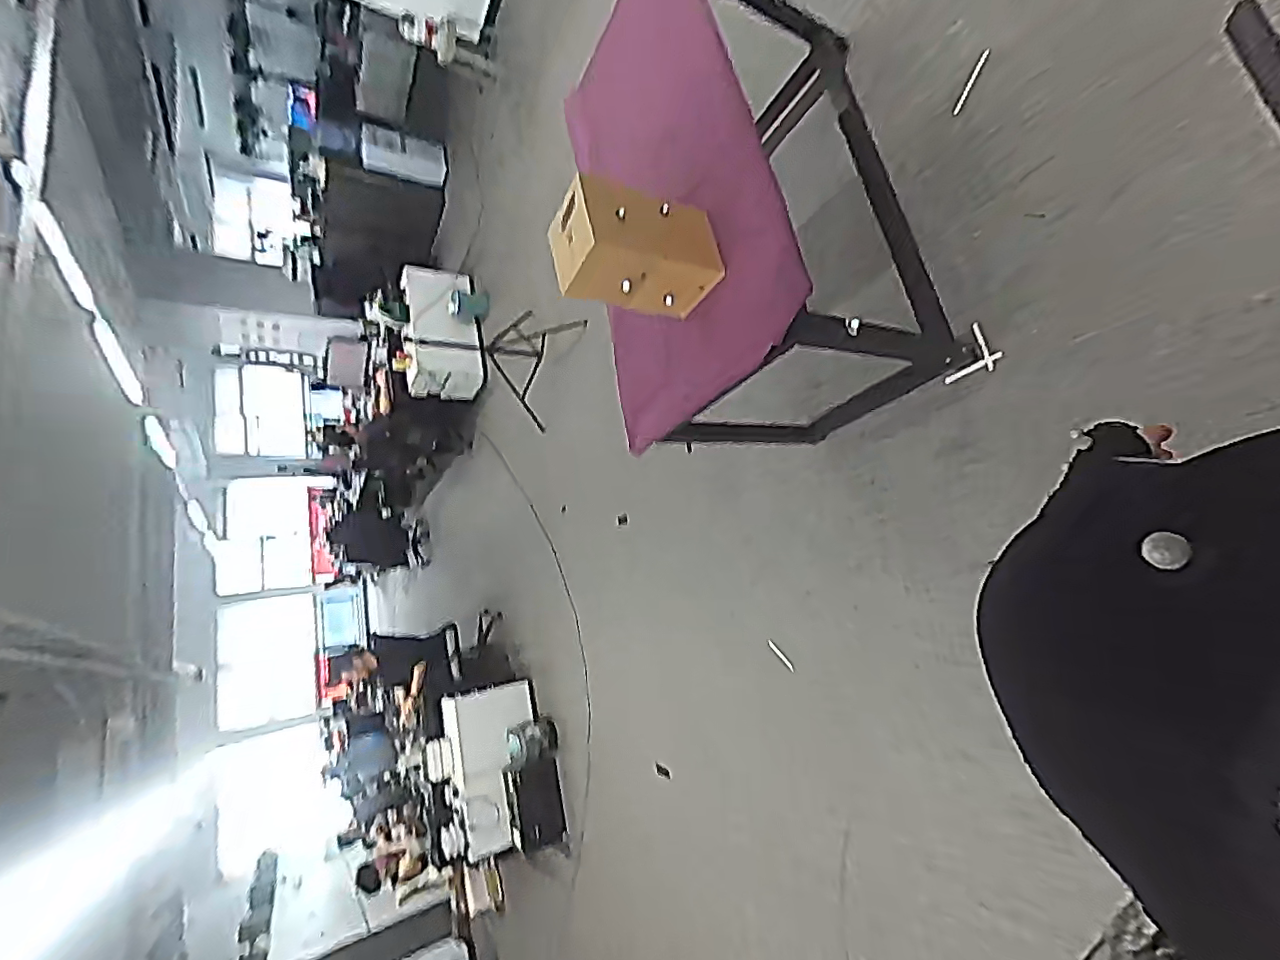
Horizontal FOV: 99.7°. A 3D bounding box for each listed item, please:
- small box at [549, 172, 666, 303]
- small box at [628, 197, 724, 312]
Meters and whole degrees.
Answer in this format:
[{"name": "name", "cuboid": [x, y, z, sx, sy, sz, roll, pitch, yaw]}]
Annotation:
[{"name": "small box", "cuboid": [-0.070, -0.497, 1.135, 0.168, 0.176, 0.179, -37, 62, 52]}, {"name": "small box", "cuboid": [0.066, -0.499, 1.228, 0.168, 0.176, 0.179, -37, 61, 52]}]
